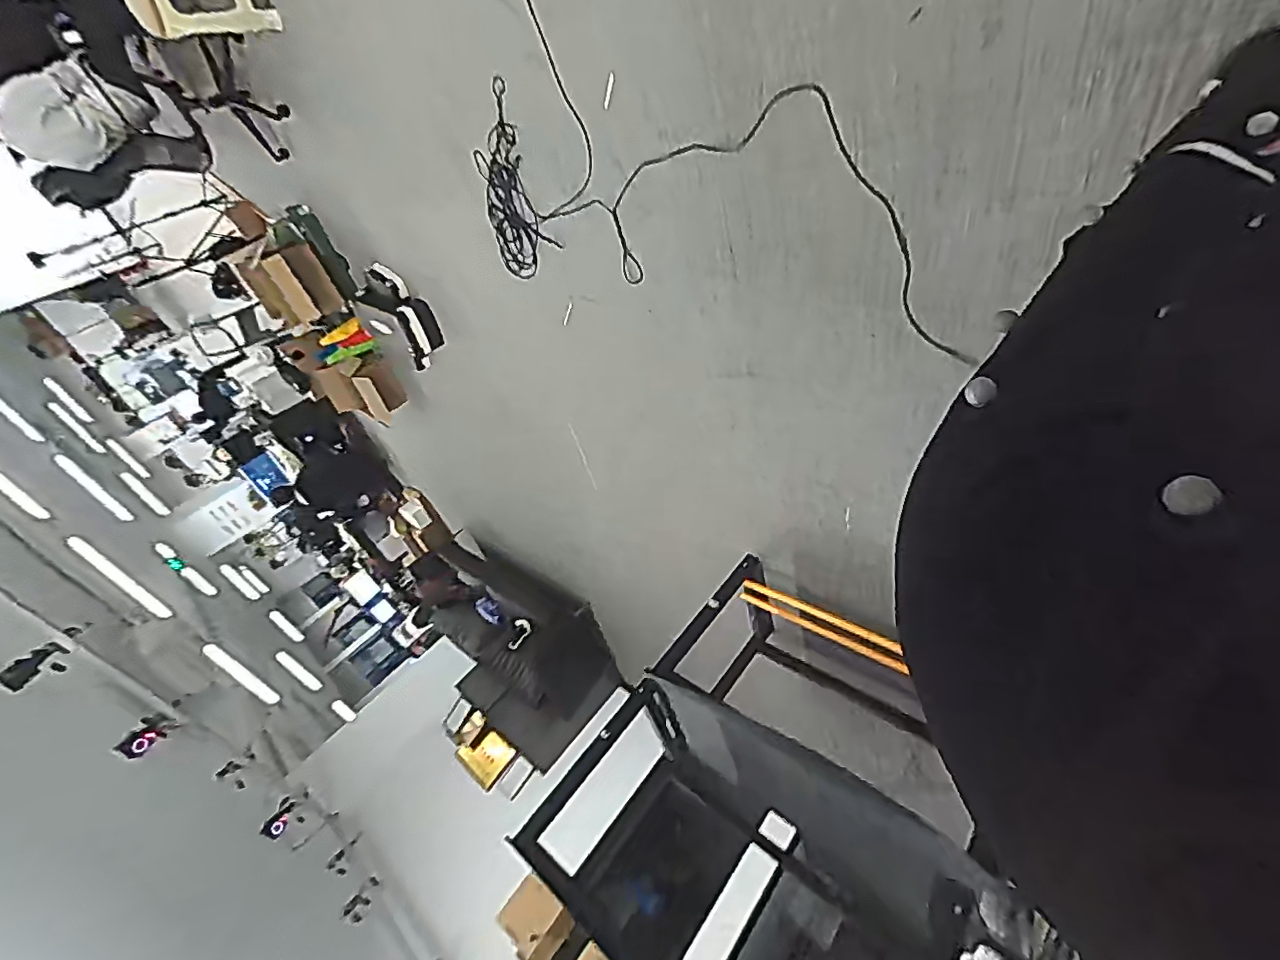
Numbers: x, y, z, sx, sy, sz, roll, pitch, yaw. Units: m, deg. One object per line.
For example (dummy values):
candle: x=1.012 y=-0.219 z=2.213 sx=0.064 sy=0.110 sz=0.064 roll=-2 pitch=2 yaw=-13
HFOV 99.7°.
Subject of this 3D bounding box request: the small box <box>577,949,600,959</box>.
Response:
small box: x=-0.130 y=1.496 z=1.531 sx=0.168 sy=0.176 sz=0.179 roll=14 pitch=136 yaw=43
